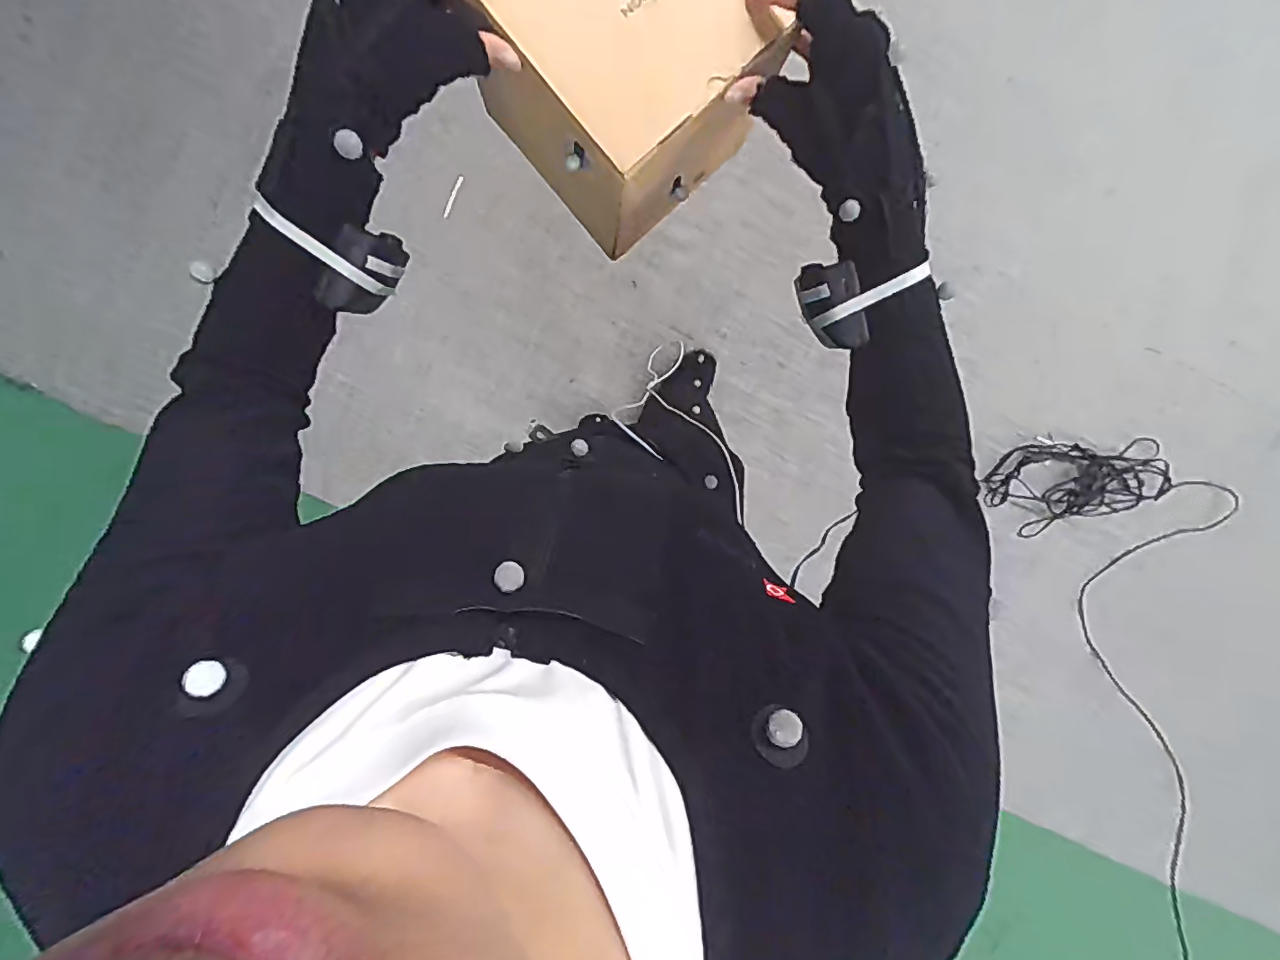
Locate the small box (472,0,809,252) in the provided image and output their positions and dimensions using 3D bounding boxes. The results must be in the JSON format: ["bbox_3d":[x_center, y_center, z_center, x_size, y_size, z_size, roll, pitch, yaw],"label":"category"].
[{"bbox_3d":[-0.011,-0.319,0.426,0.168,0.176,0.179,-41,99,-2],"label":"small box"}]
